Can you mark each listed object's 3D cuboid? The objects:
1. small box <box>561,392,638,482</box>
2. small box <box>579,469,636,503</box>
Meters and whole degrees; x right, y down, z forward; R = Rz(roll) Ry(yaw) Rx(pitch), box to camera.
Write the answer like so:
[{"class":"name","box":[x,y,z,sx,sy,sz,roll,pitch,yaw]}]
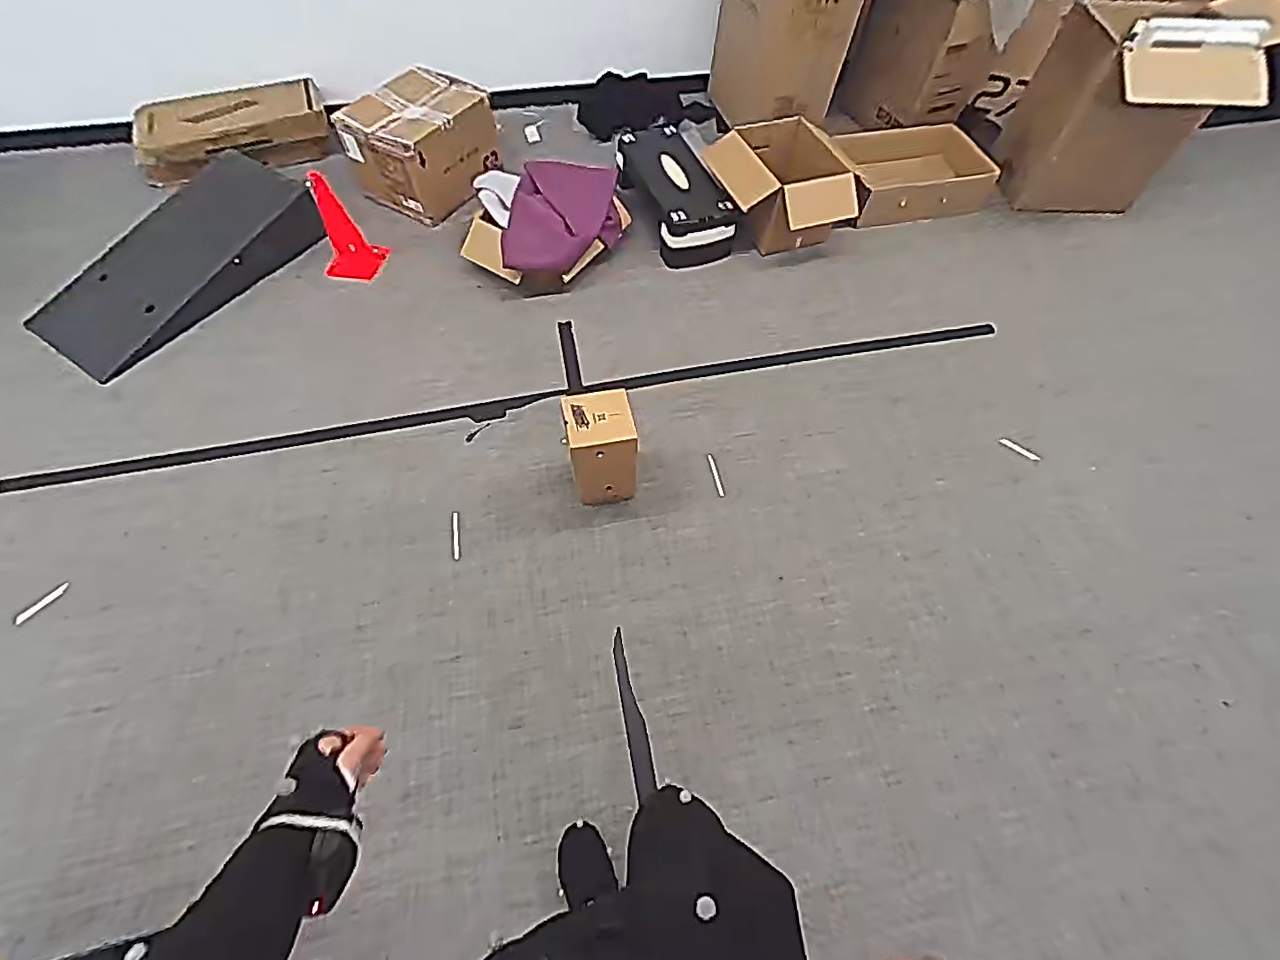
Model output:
[{"class":"small box","box":[-0.107,-0.111,1.457,0.179,0.176,0.168,-10,61,-8]},{"class":"small box","box":[-0.105,-0.043,1.610,0.168,0.176,0.179,-9,61,-7]}]
